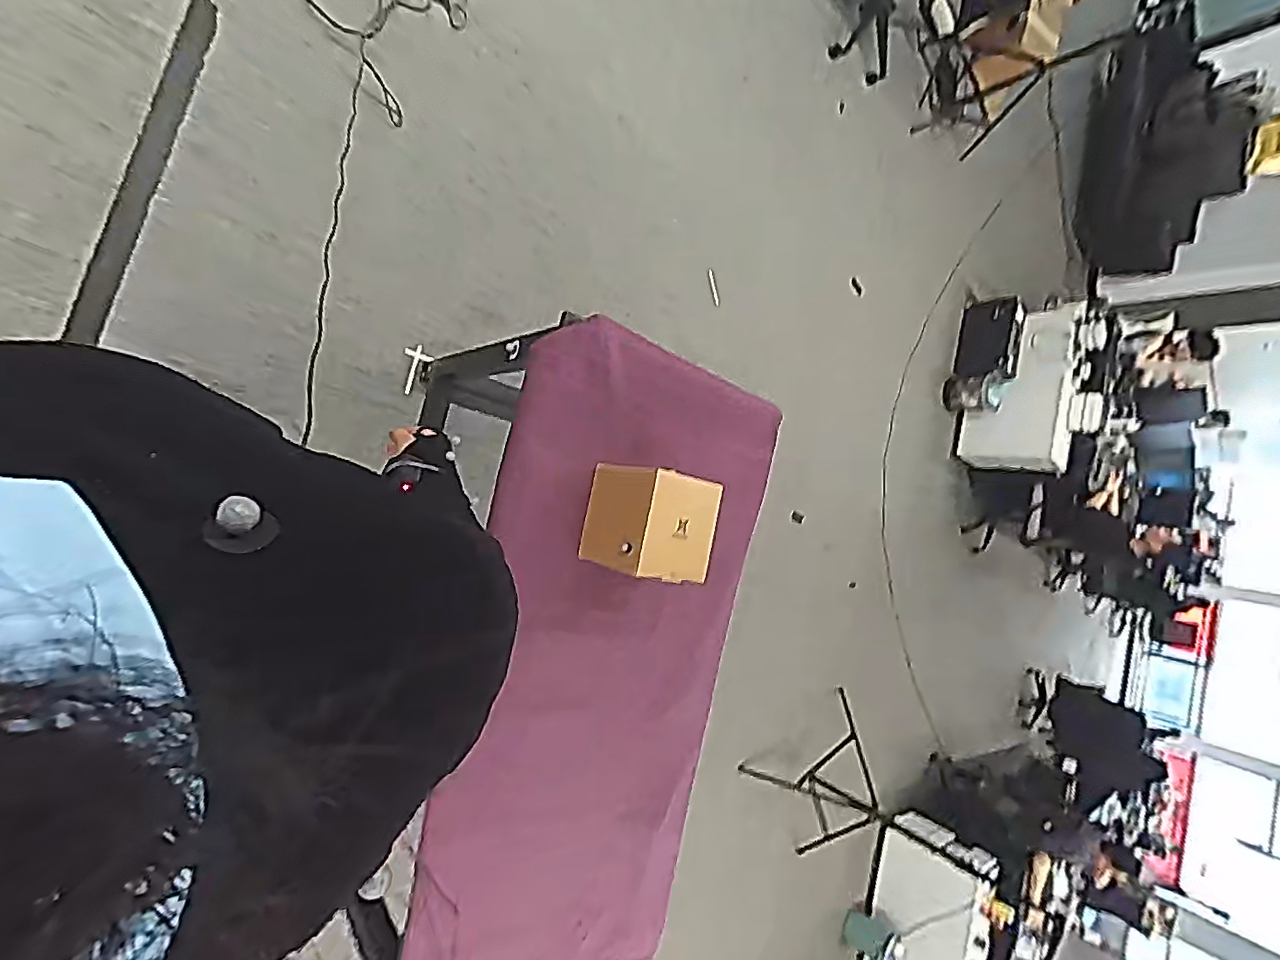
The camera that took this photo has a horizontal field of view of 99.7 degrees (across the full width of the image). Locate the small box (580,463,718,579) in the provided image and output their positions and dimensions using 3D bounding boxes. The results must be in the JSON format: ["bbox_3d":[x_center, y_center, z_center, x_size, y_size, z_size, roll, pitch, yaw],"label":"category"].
[{"bbox_3d":[0.013,0.070,0.972,0.168,0.176,0.179,14,86,-41],"label":"small box"}]
